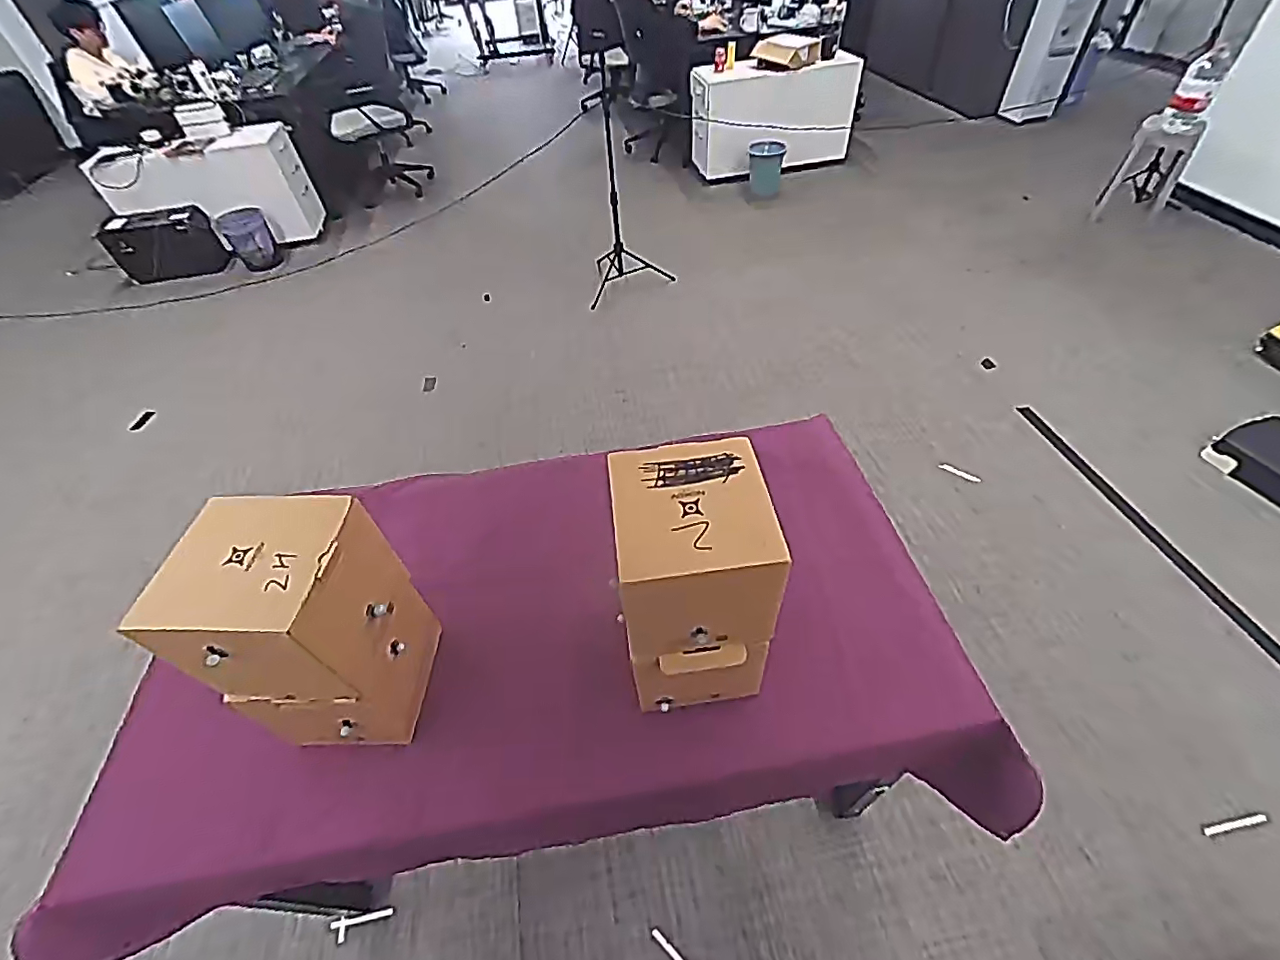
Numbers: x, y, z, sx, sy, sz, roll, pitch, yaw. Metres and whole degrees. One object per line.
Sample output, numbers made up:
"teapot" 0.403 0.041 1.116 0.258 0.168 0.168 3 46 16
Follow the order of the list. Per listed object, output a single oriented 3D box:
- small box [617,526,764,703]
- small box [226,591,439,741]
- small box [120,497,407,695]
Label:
"small box" 0.065 0.190 0.744 0.168 0.176 0.179 -8 47 -2
"small box" -0.397 0.245 0.740 0.168 0.176 0.179 -1 48 3
"small box" -0.402 0.135 0.618 0.179 0.176 0.168 0 49 4
